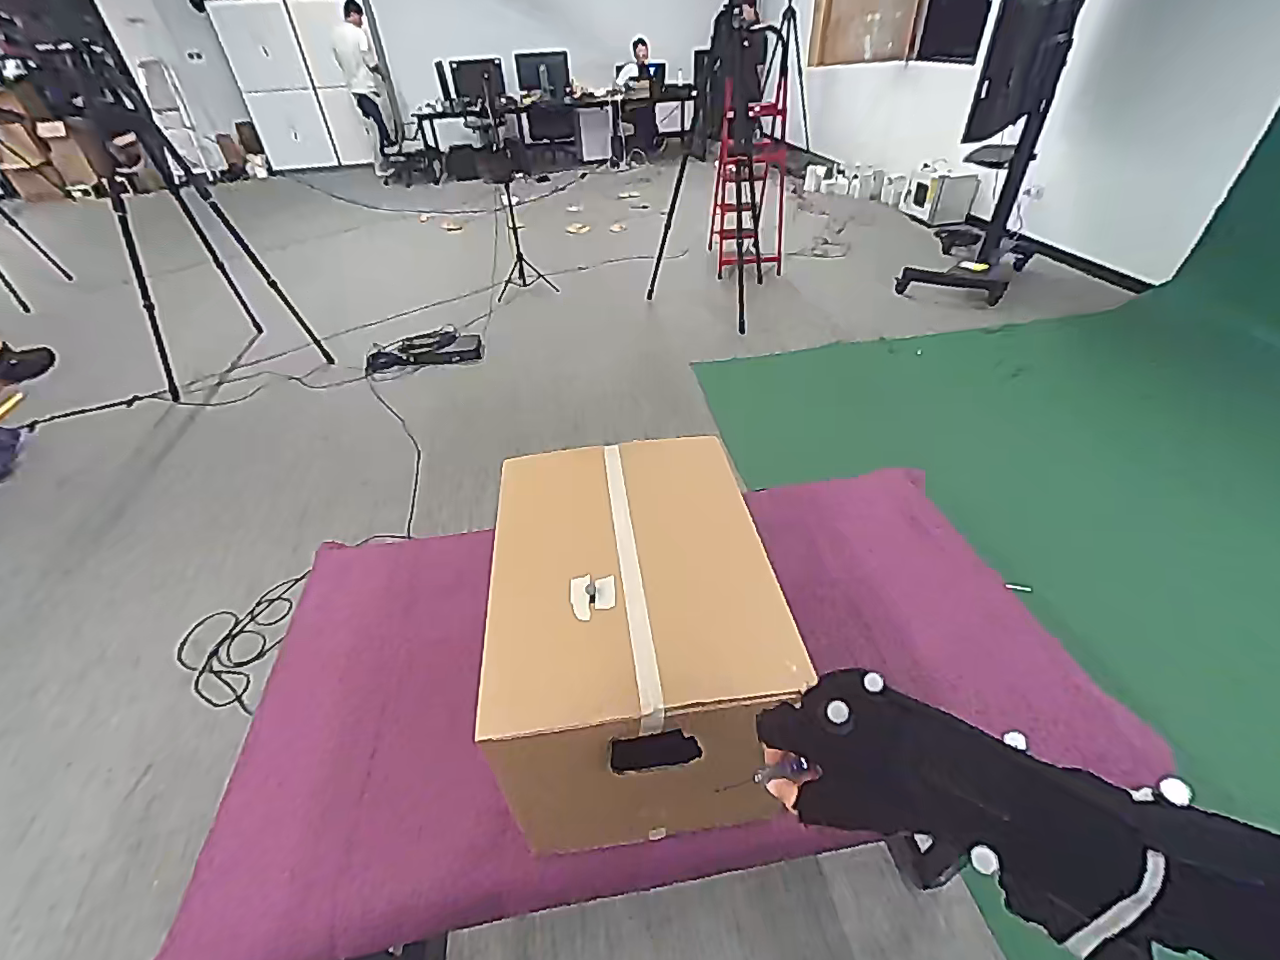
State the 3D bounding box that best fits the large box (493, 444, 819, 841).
[{"bbox_3d":[-0.006,0.200,0.740,0.320,0.320,0.408,-7,41,-4],"label":"large box"}]
